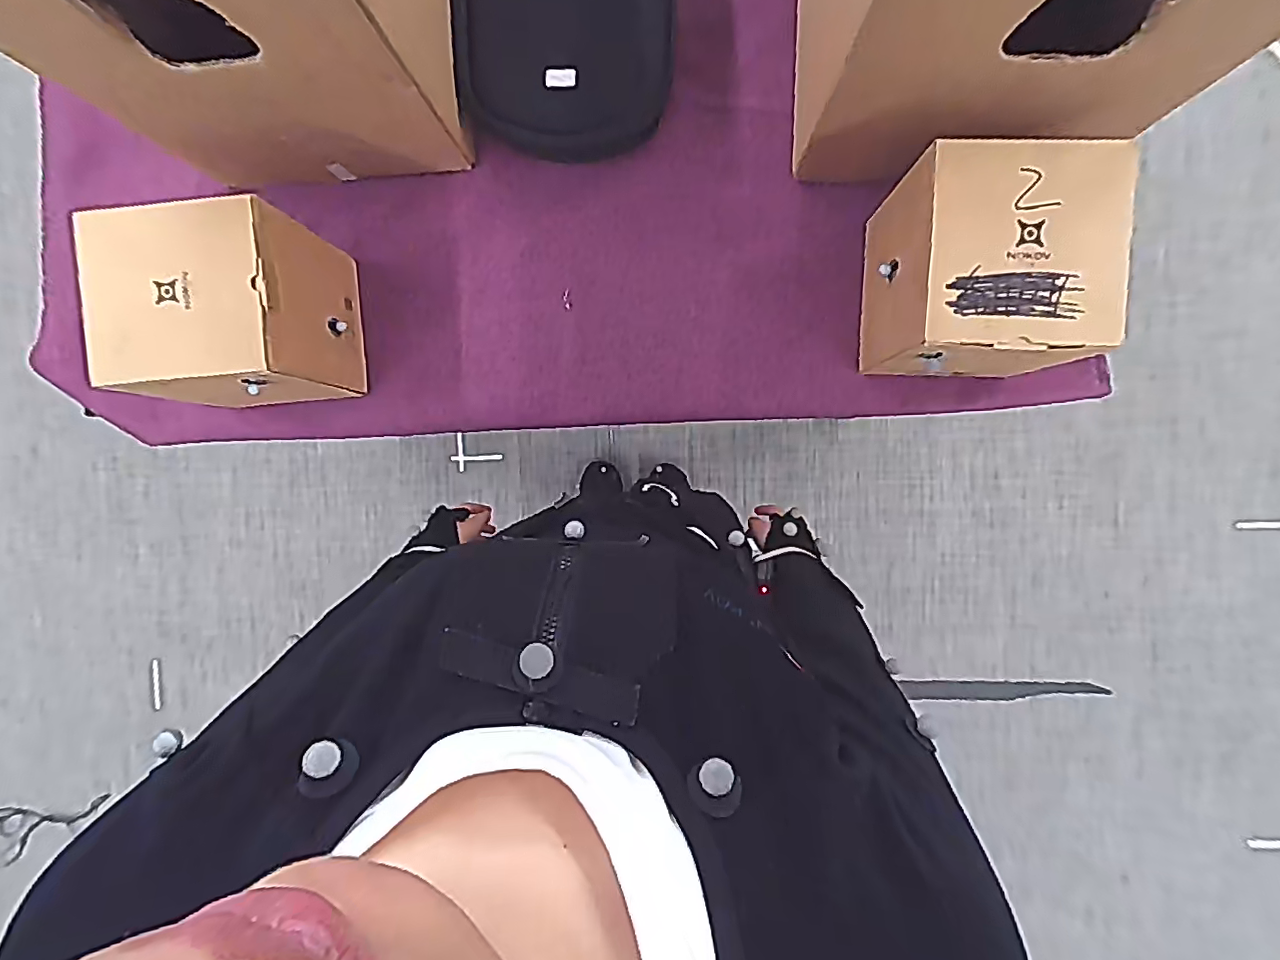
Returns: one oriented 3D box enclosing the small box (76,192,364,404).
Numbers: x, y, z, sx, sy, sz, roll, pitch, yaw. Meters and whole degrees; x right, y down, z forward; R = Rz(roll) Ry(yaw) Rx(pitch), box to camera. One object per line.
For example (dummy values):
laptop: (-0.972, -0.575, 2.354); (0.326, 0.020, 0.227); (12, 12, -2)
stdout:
small box: (-0.431, -0.178, 0.582); (0.179, 0.176, 0.168); (-5, 91, 2)

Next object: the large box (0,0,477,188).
large box: (-0.363, -0.551, 0.495); (0.320, 0.320, 0.408); (-4, 95, 3)
